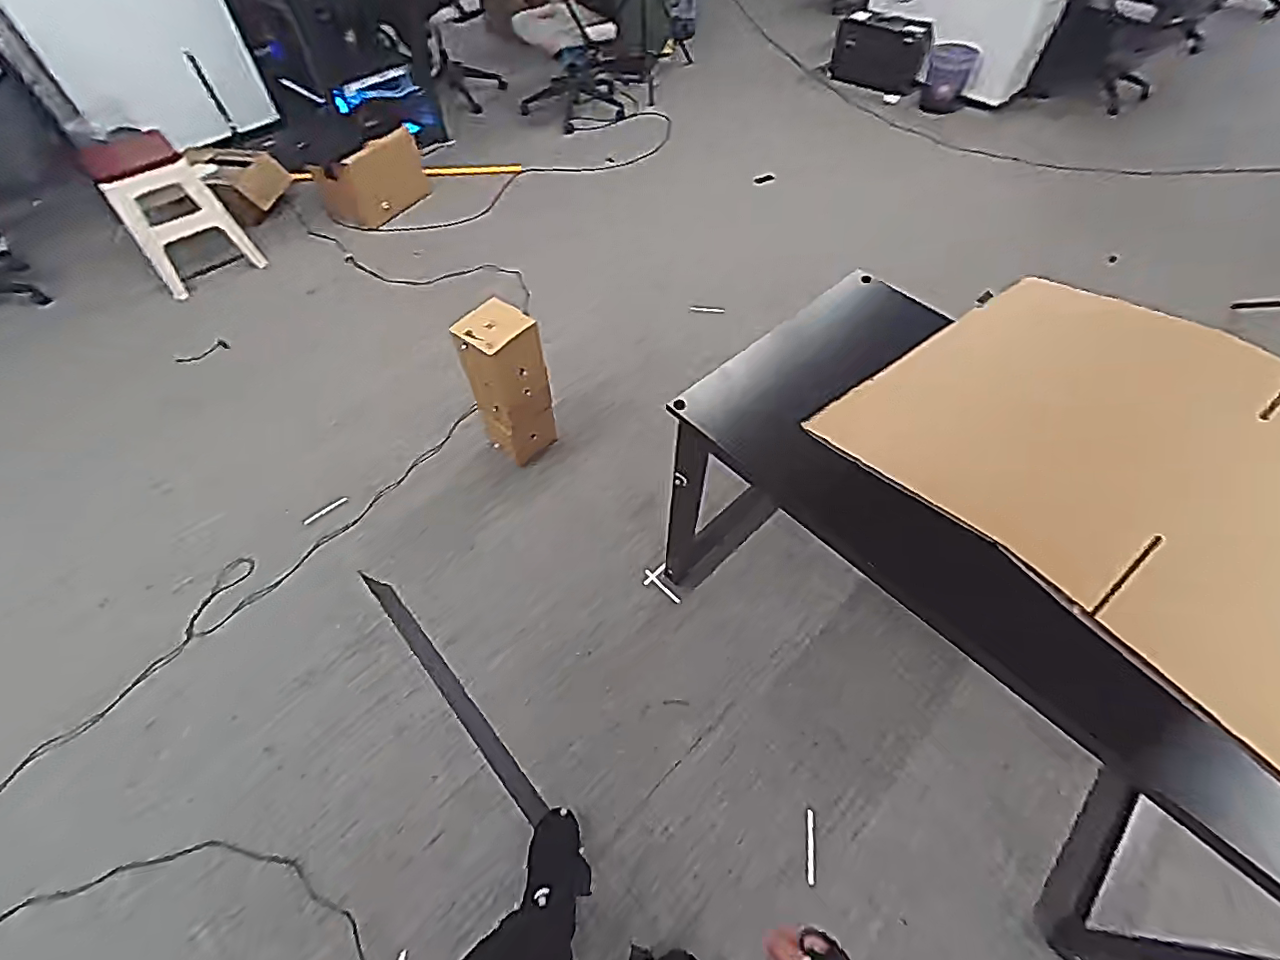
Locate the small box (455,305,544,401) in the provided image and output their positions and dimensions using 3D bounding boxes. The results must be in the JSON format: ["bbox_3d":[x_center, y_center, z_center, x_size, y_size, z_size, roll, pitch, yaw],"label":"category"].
[{"bbox_3d":[-0.391,-0.360,1.540,0.168,0.176,0.179,33,60,20],"label":"small box"}]

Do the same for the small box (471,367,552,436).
[{"bbox_3d":[-0.389,-0.268,1.677,0.168,0.176,0.179,35,61,21],"label":"small box"}]

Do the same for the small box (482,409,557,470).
[{"bbox_3d":[-0.393,-0.171,1.806,0.168,0.176,0.179,37,63,23],"label":"small box"}]
